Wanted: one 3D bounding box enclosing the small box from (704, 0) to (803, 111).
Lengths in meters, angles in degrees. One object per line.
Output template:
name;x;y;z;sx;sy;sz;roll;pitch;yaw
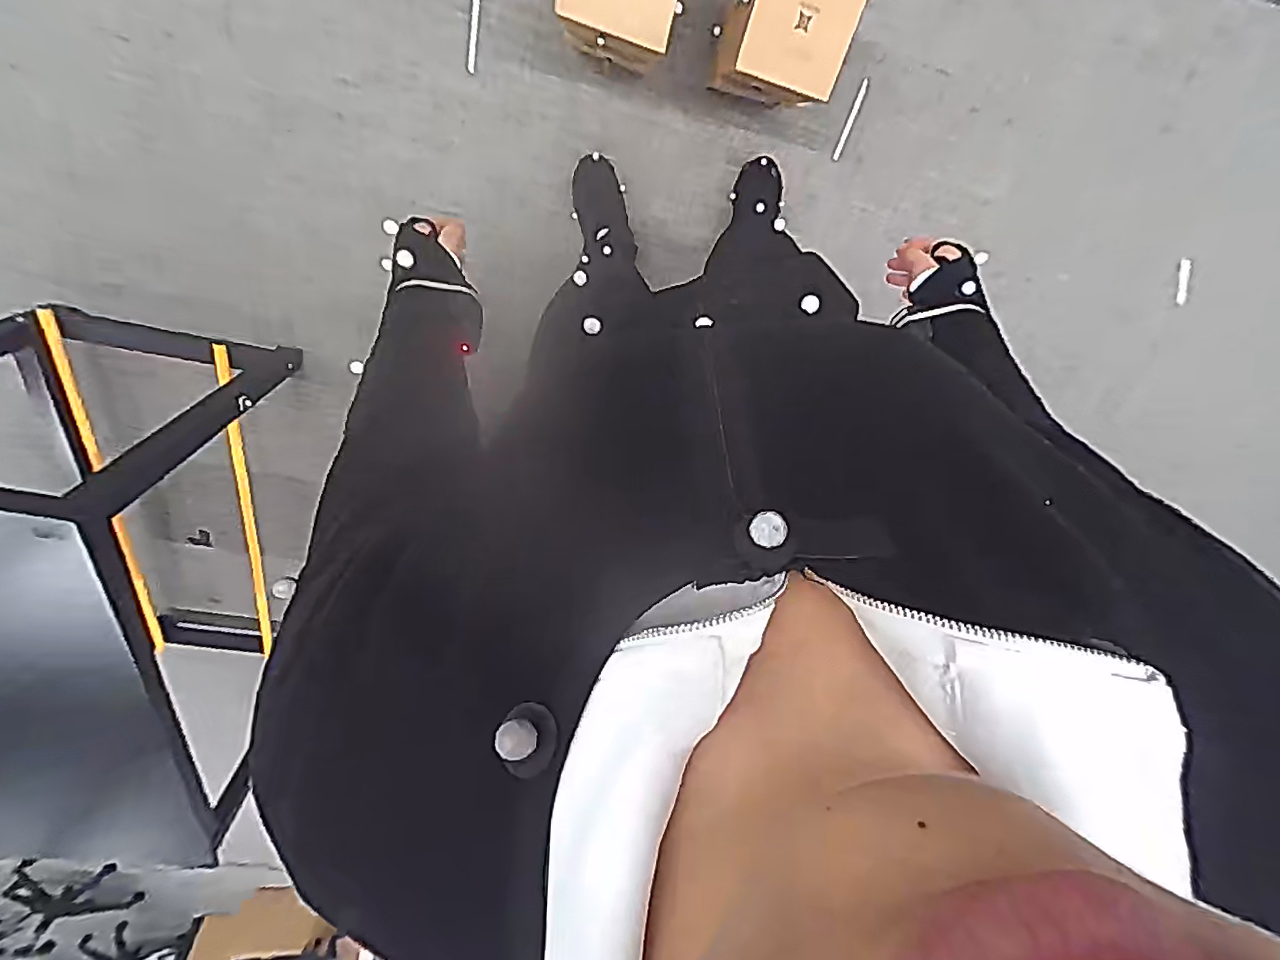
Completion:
small box;0.237;-0.826;1.032;0.179;0.176;0.168;10;123;-10

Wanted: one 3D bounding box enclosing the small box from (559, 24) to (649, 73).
small box;-0.042;-0.872;0.985;0.168;0.176;0.179;13;123;-11

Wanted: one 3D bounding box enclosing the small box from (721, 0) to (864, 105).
small box;0.243;-0.746;0.890;0.168;0.176;0.179;12;124;-10

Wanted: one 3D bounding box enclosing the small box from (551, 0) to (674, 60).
small box;-0.031;-0.785;0.844;0.179;0.176;0.168;12;122;-11
